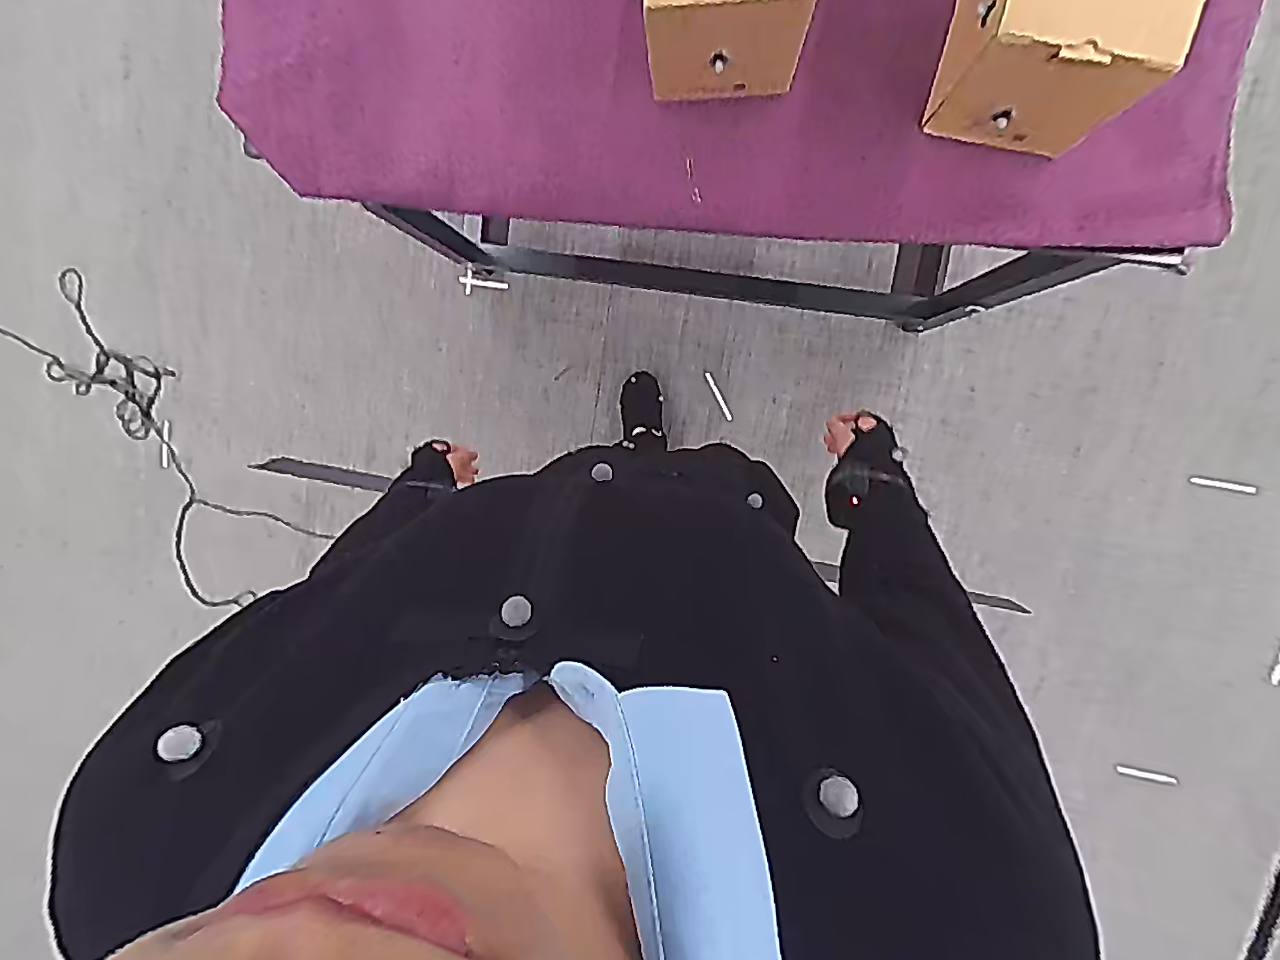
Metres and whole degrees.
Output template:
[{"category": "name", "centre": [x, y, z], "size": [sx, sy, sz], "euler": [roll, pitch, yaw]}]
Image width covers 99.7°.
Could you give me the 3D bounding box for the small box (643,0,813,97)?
[{"category": "small box", "centre": [0.092, -0.544, 0.580], "size": [0.168, 0.176, 0.179], "euler": [1, 97, 5]}]

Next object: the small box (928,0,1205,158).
[{"category": "small box", "centre": [0.430, -0.474, 0.557], "size": [0.168, 0.176, 0.179], "euler": [14, 97, 4]}]
